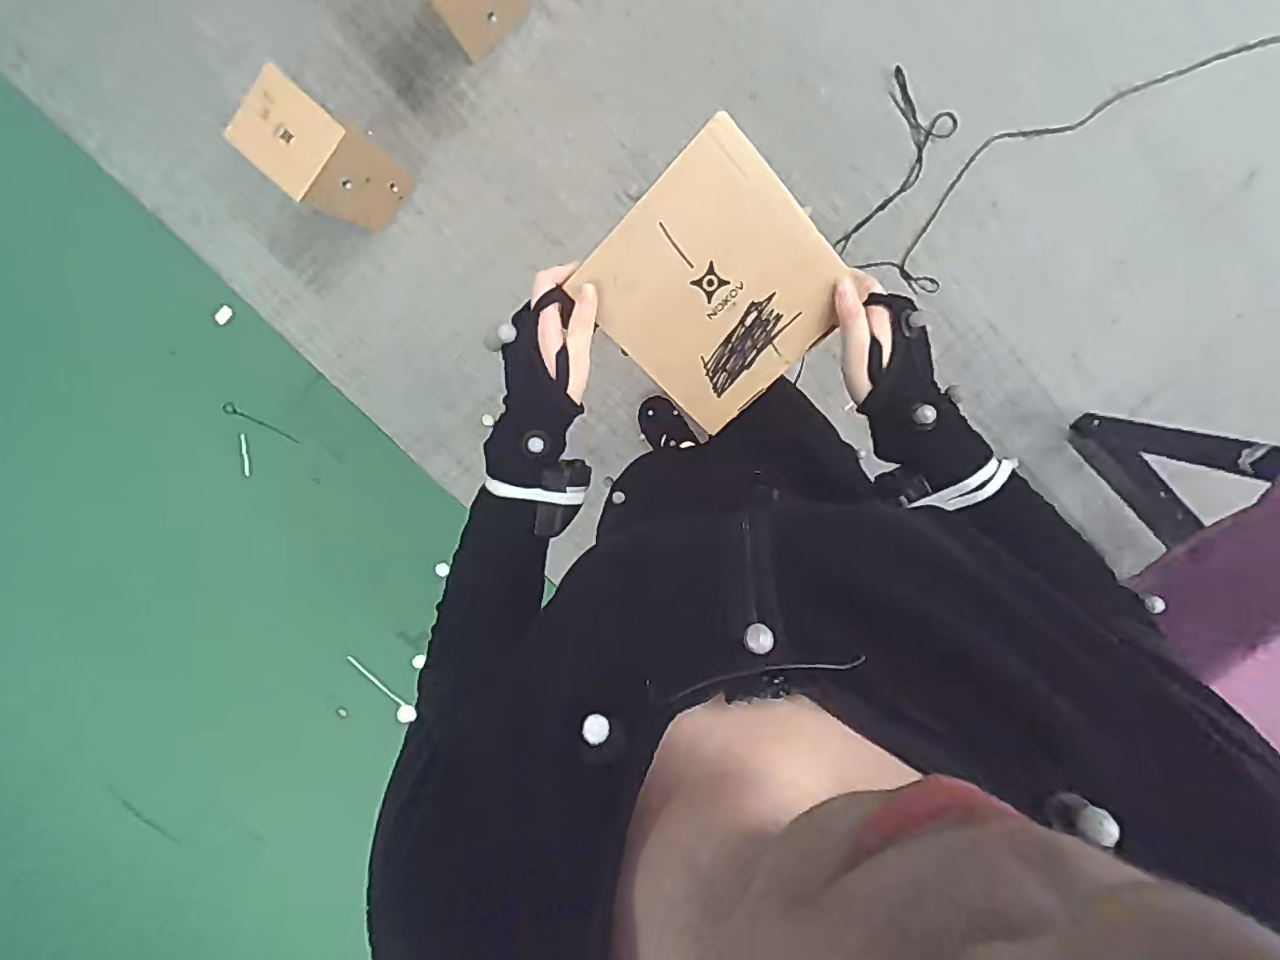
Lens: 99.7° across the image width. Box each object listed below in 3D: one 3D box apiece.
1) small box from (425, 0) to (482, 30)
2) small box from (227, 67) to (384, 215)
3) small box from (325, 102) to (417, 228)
[{"bbox_3d":[-0.374,-1.002,0.999,0.179,0.176,0.168,-39,100,11],"label":"small box"},{"bbox_3d":[-0.665,-0.670,1.100,0.179,0.176,0.168,43,101,-9],"label":"small box"},{"bbox_3d":[-0.660,-0.716,1.258,0.179,0.176,0.168,44,102,-8],"label":"small box"}]
